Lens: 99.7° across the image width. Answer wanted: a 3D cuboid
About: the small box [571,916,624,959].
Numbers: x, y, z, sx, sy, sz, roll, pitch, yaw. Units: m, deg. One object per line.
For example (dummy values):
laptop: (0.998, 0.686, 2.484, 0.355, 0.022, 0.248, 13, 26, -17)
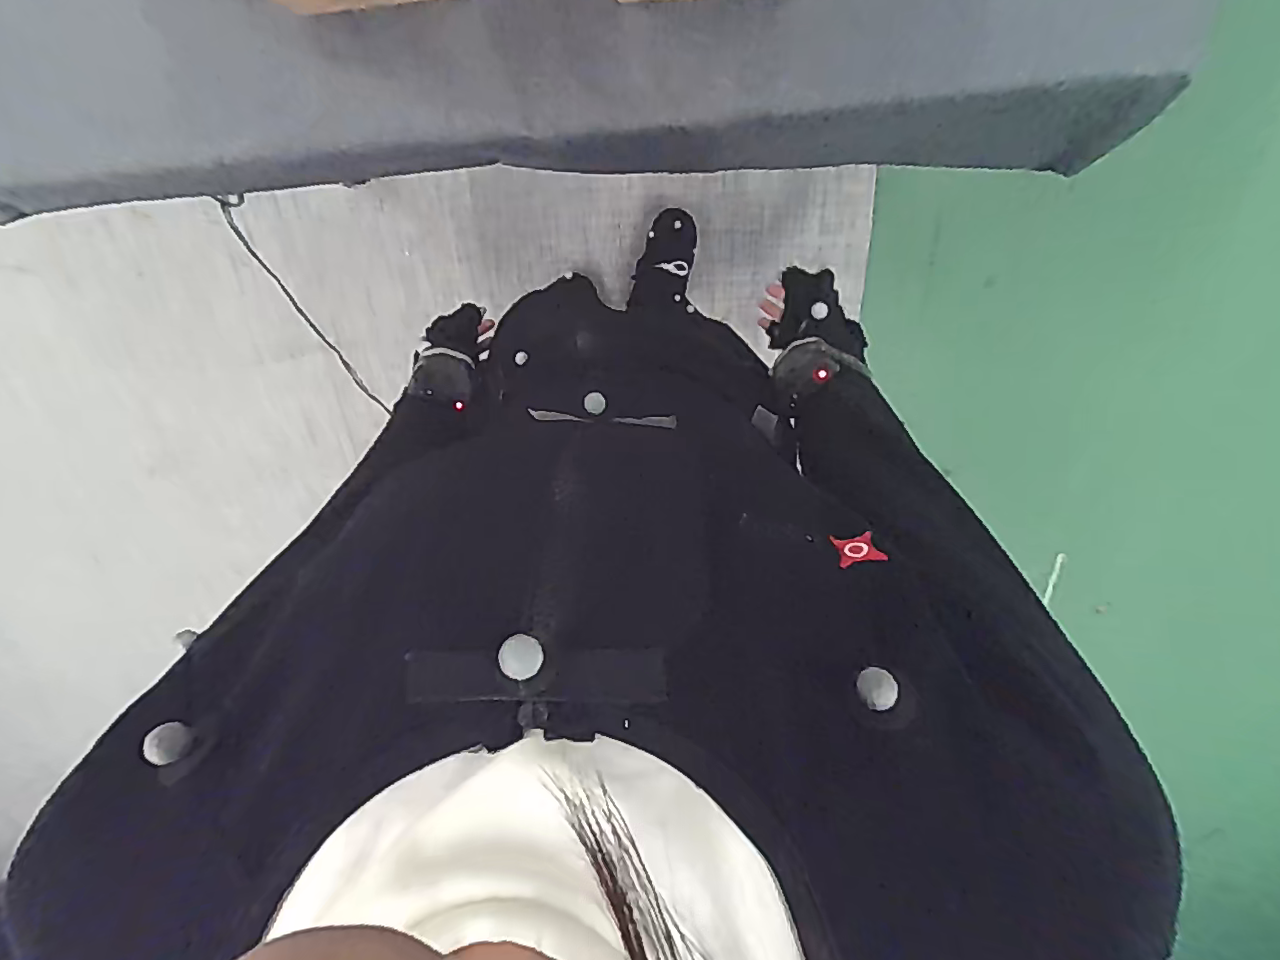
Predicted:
small box: (-0.154, 1.720, 1.956, 0.179, 0.176, 0.168, 3, 113, 1)
